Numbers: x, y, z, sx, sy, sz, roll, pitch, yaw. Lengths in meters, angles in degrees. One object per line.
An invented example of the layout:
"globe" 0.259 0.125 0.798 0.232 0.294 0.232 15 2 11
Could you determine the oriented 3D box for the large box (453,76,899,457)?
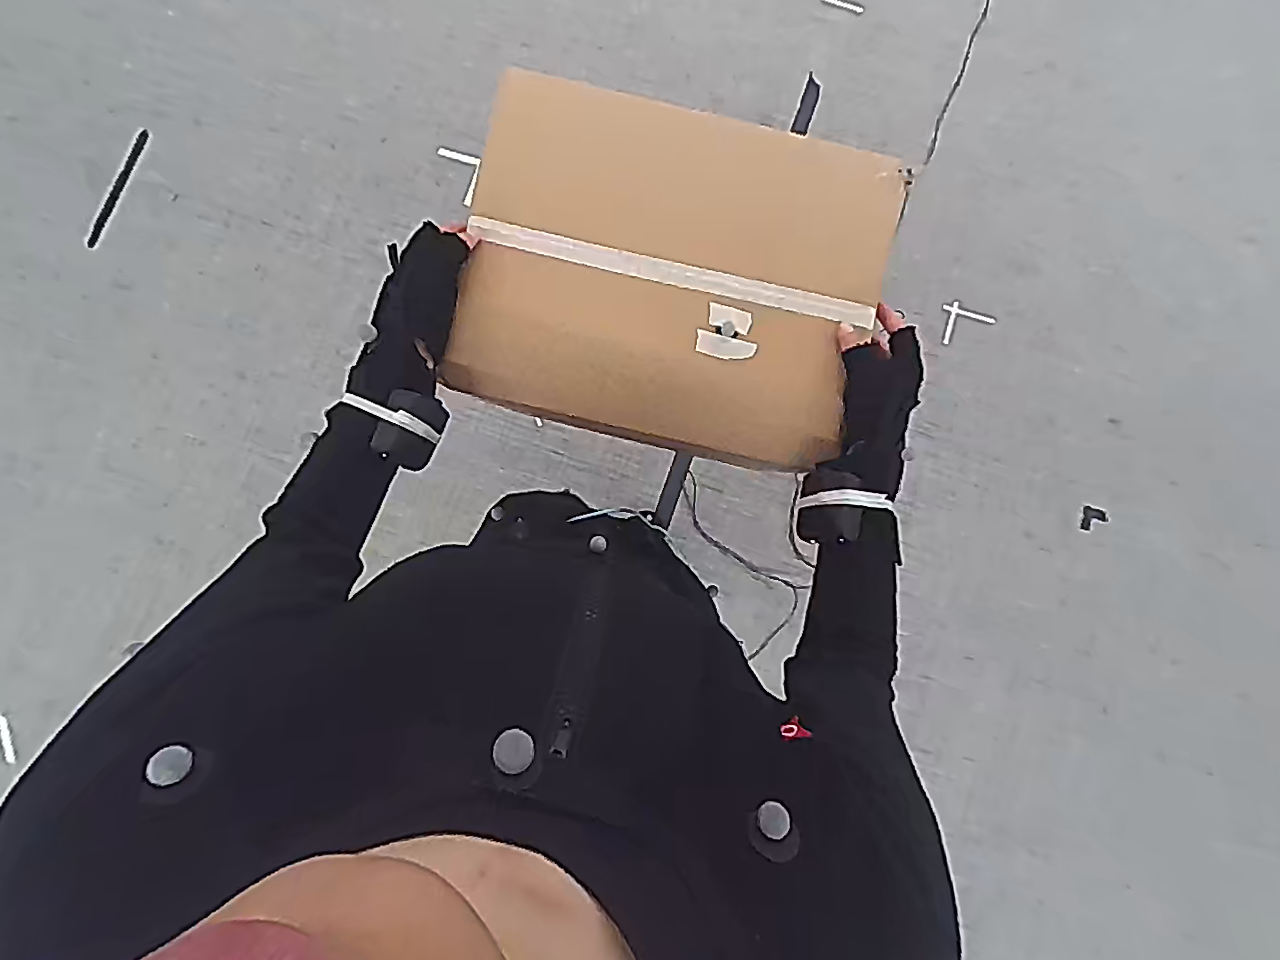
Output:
"large box" 0.032 -0.219 0.690 0.408 0.320 0.320 13 94 -1
